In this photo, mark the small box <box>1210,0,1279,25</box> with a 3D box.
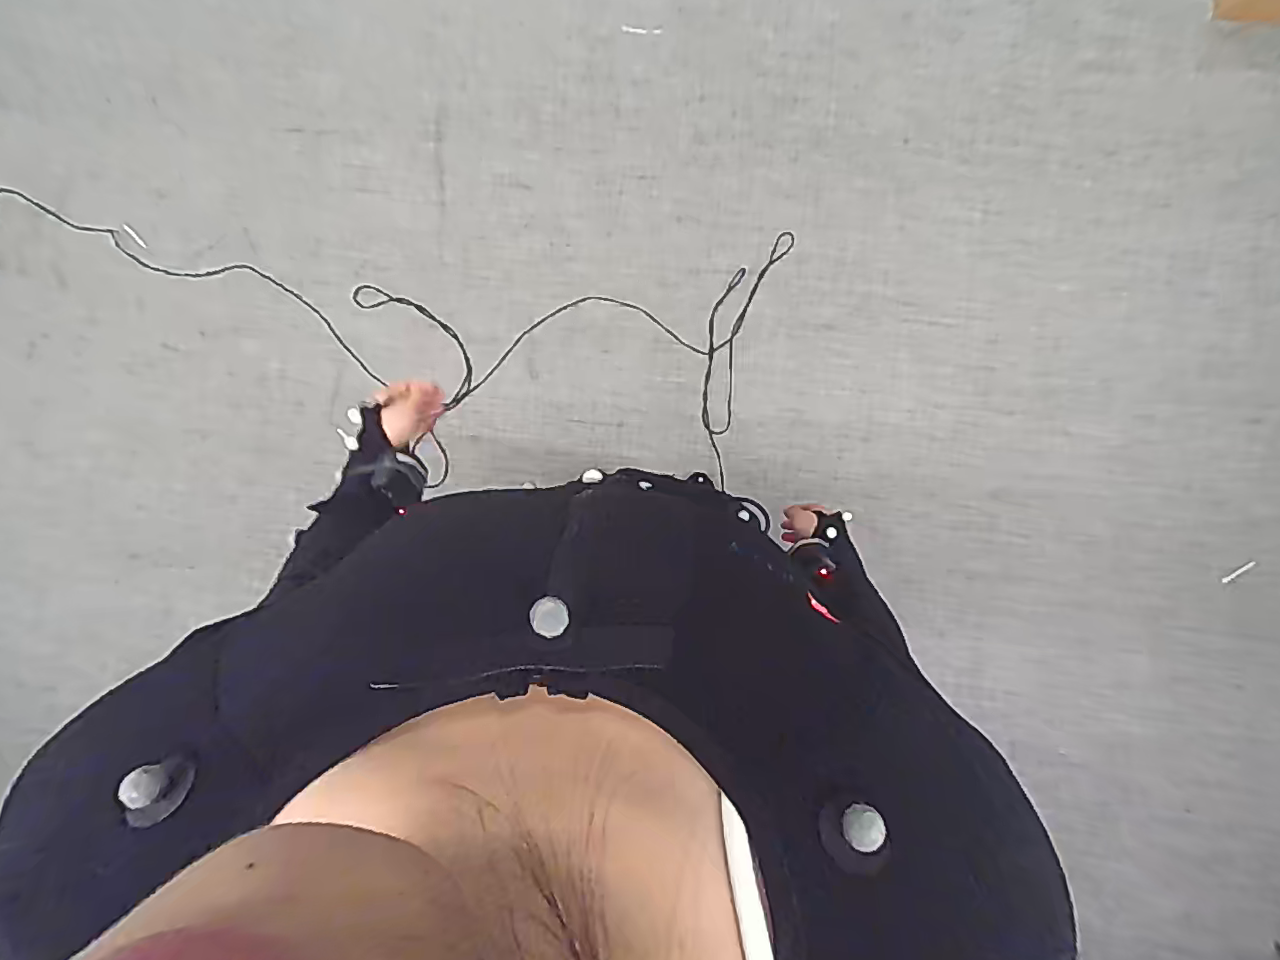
[{"bbox_3d":[1.567,-1.257,1.308,0.179,0.176,0.168,11,92,2],"label":"small box"}]
